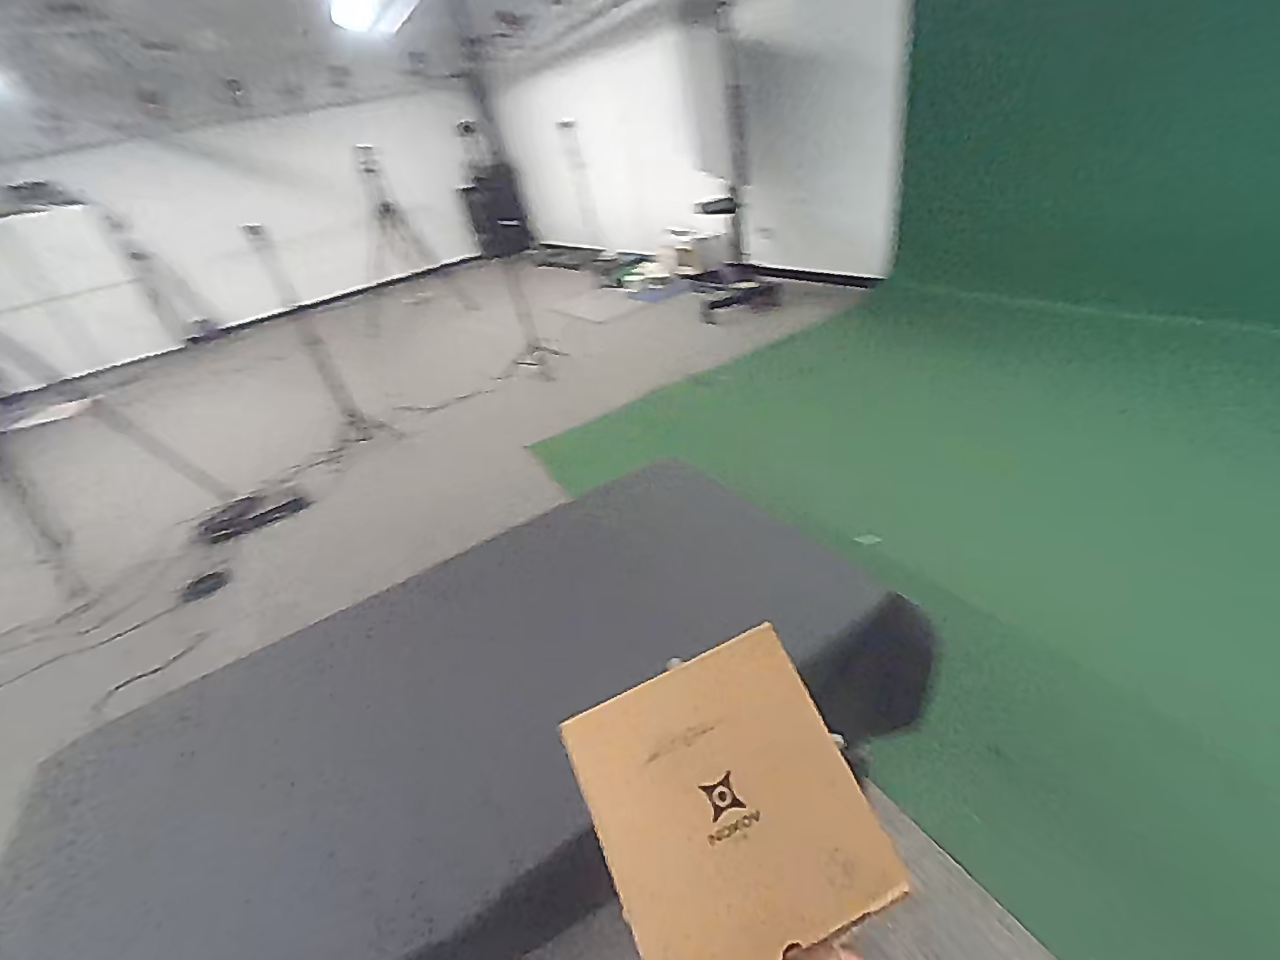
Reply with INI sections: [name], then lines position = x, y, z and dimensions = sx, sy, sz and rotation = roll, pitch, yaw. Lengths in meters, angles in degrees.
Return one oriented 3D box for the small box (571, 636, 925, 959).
[small box]
position = 0.066, 0.242, 0.412
dimensions = 0.168, 0.176, 0.179
rotation = -24, 66, -7
